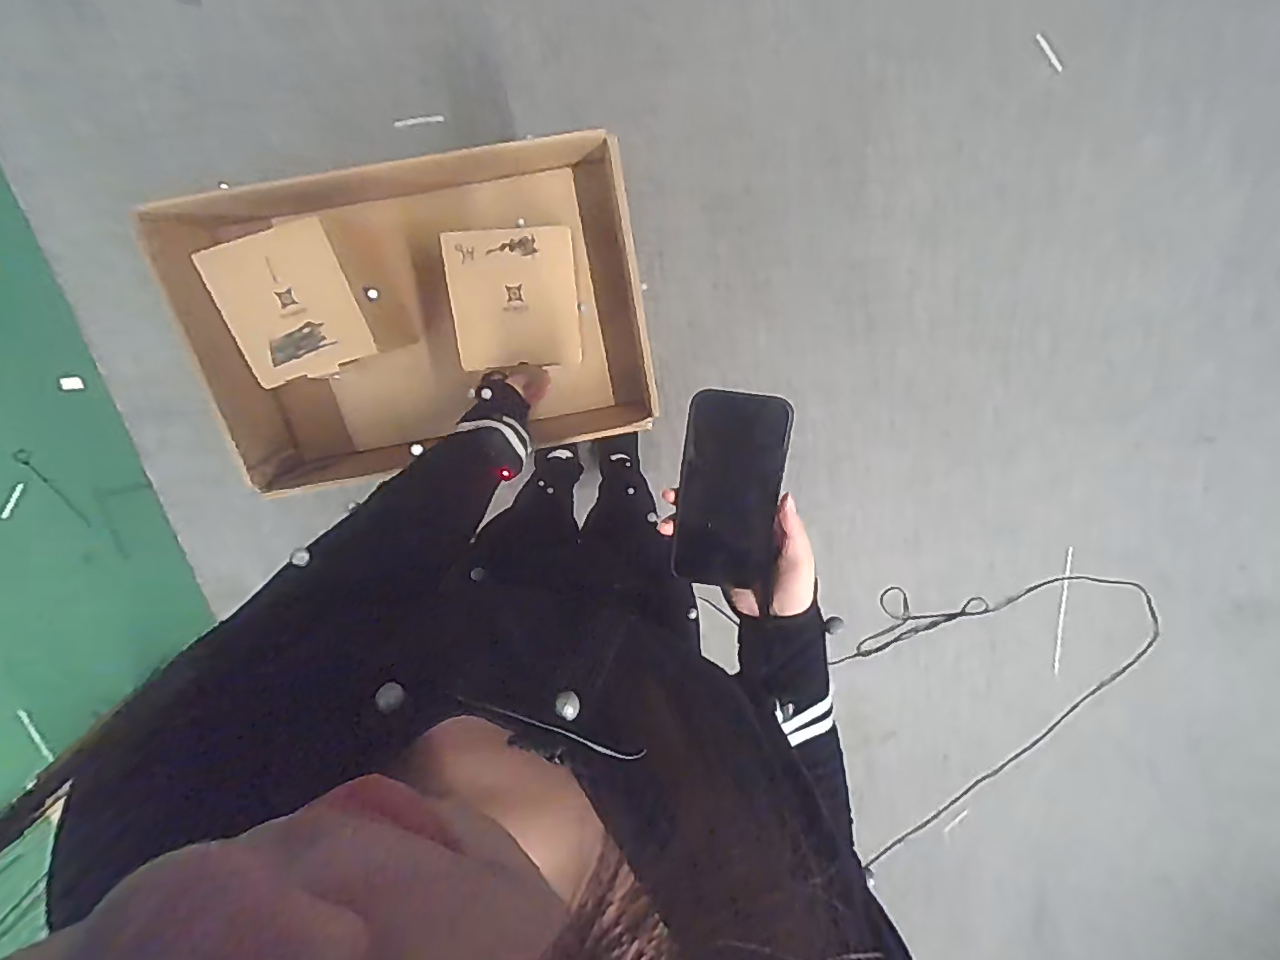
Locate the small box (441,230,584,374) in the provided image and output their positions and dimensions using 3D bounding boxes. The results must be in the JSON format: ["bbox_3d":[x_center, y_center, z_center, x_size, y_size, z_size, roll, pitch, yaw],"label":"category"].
[{"bbox_3d":[-0.170,-0.257,0.781,0.168,0.176,0.179,-4,110,-3],"label":"small box"}]
